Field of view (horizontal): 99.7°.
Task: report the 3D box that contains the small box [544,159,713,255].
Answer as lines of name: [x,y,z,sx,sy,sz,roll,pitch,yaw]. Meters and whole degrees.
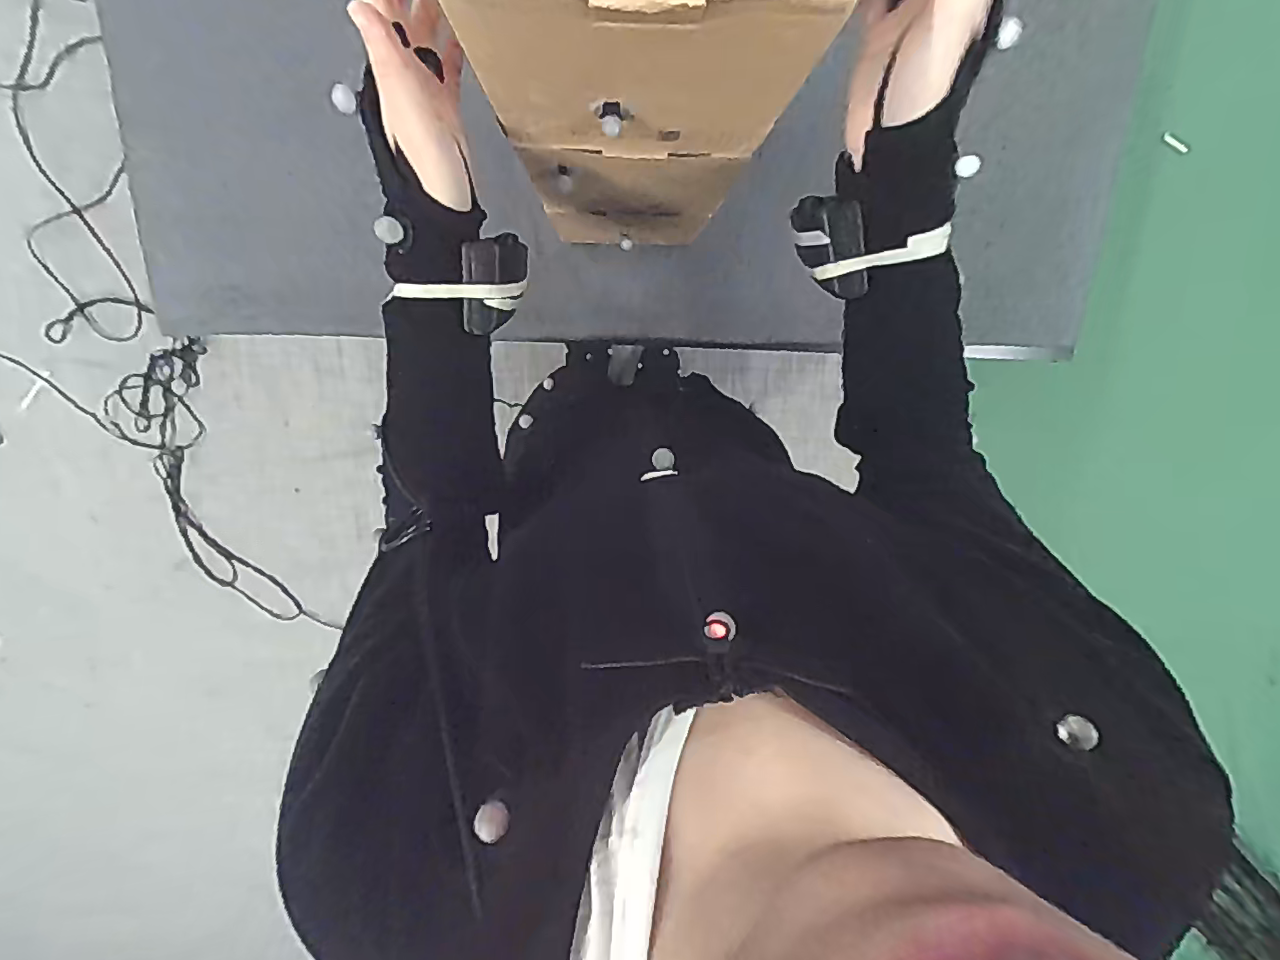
small box: [-0.013,-0.355,0.588,0.168,0.176,0.179,0,104,-2]

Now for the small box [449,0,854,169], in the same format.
small box: [0.000,-0.282,0.270,0.168,0.176,0.179,0,103,-3]
